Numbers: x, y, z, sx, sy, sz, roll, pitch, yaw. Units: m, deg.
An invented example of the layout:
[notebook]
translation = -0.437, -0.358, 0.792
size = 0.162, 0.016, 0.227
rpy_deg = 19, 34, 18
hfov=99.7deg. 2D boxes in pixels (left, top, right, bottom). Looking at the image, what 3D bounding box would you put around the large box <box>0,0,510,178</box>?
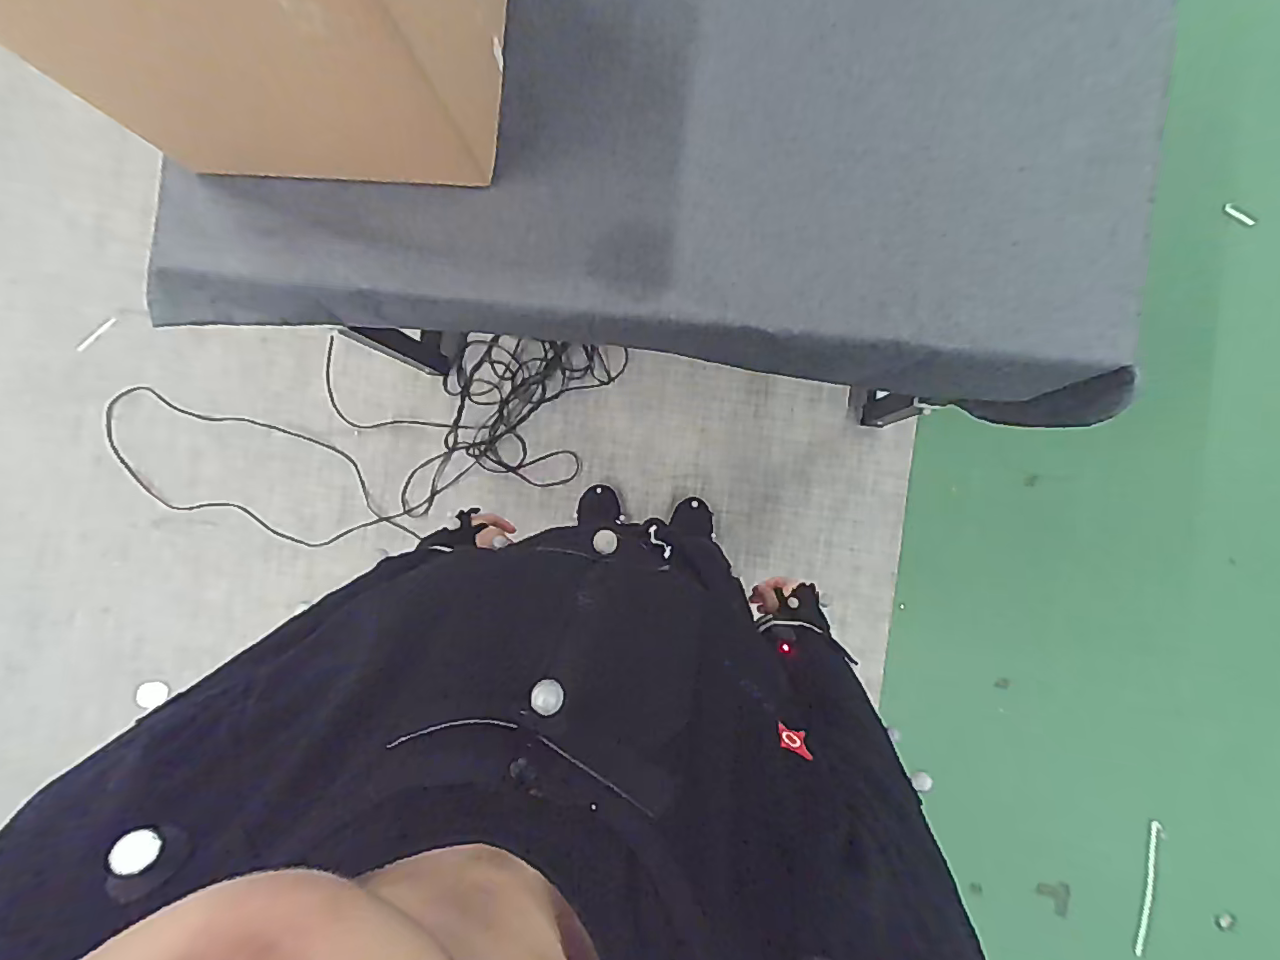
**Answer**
[large box]
translation = -0.372, -0.538, 0.538
size = 0.408, 0.320, 0.320
rpy_deg = 4, 90, 3
